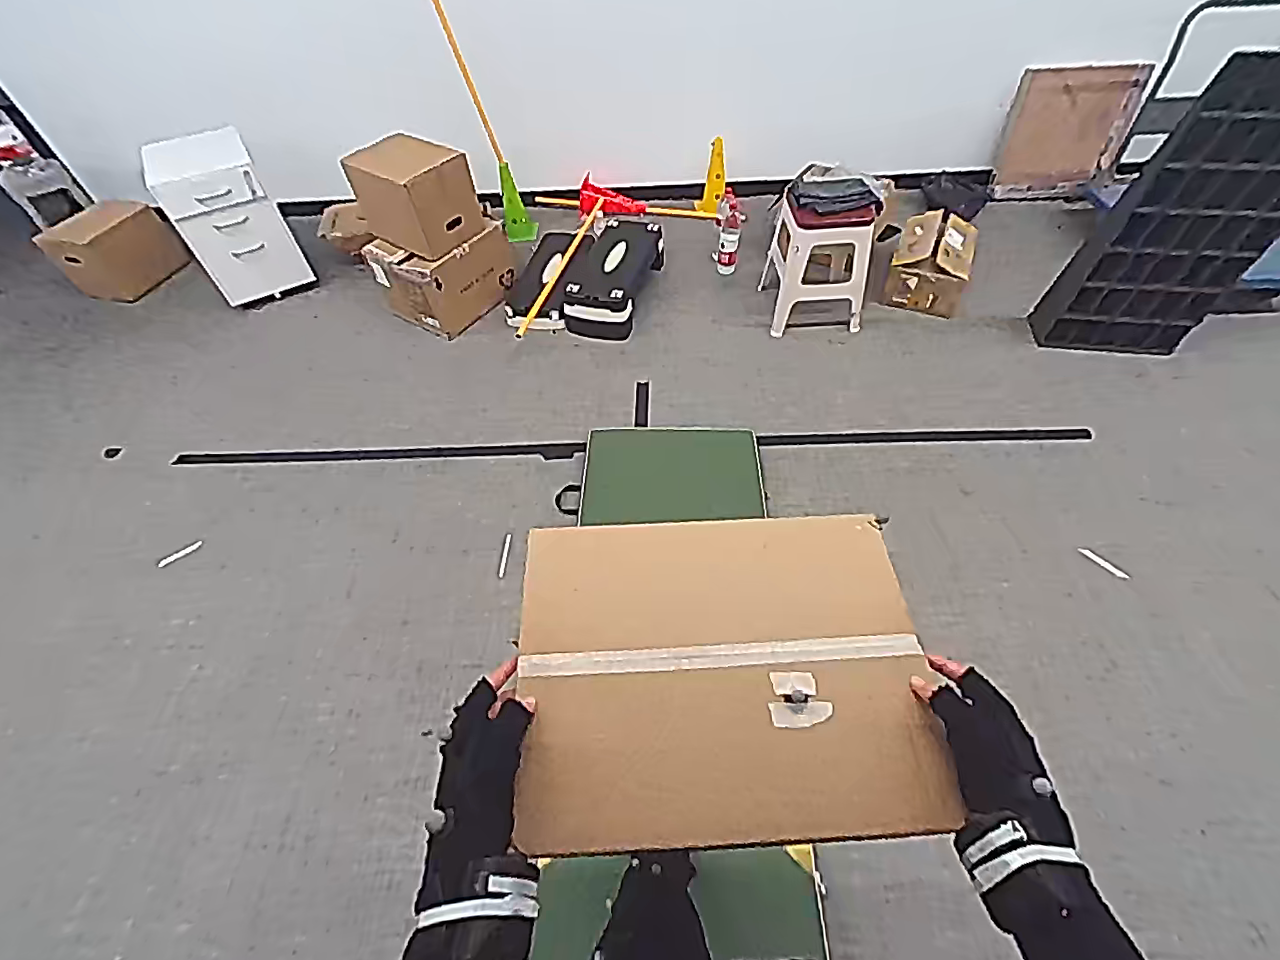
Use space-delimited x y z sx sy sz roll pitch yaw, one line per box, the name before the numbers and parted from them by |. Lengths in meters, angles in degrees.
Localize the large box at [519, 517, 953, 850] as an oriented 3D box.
large box | 0.078 0.266 0.687 0.408 0.320 0.320 -2 56 -2
